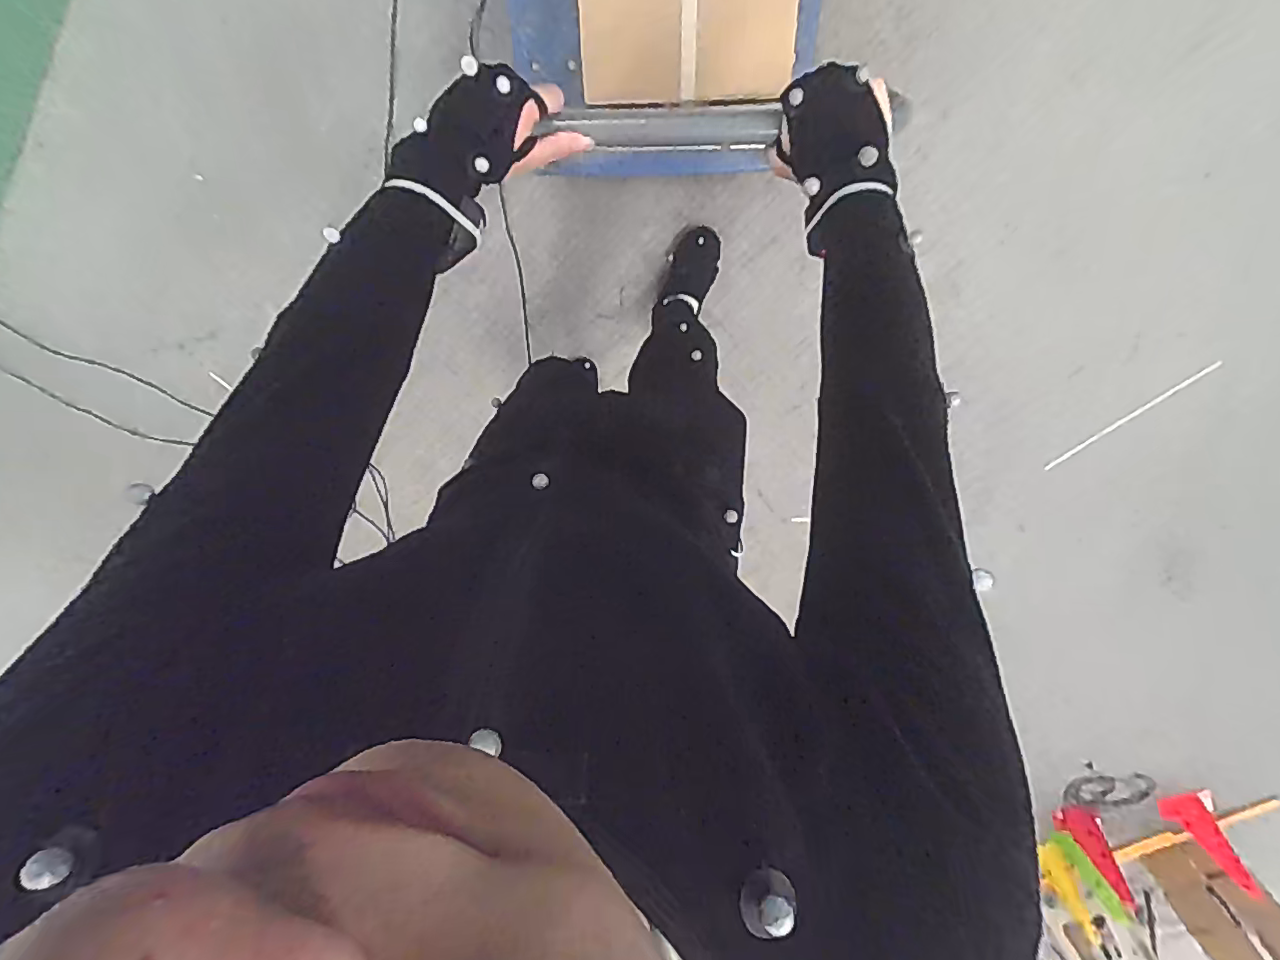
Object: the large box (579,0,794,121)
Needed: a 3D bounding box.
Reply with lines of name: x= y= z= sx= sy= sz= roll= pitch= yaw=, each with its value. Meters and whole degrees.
large box: x=0.073 y=-0.834 z=0.870 sx=0.320 sy=0.320 sz=0.408 roll=0 pitch=120 yaw=2
